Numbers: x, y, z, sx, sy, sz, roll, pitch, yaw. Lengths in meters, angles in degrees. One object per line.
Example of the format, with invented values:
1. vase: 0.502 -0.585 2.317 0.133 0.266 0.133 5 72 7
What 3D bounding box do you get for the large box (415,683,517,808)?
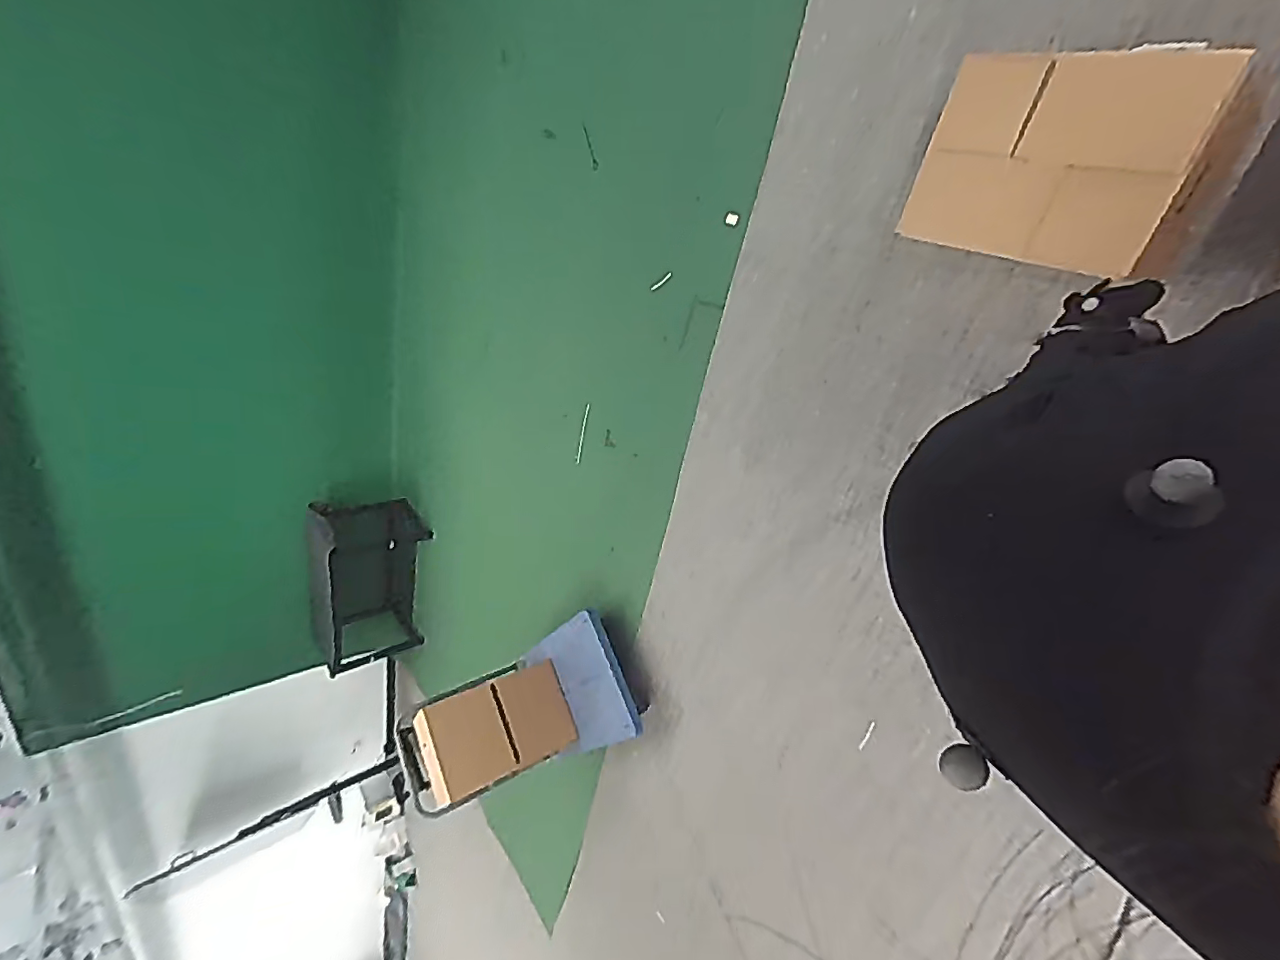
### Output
1. large box: -0.798 1.206 2.465 0.320 0.320 0.408 -49 60 47
